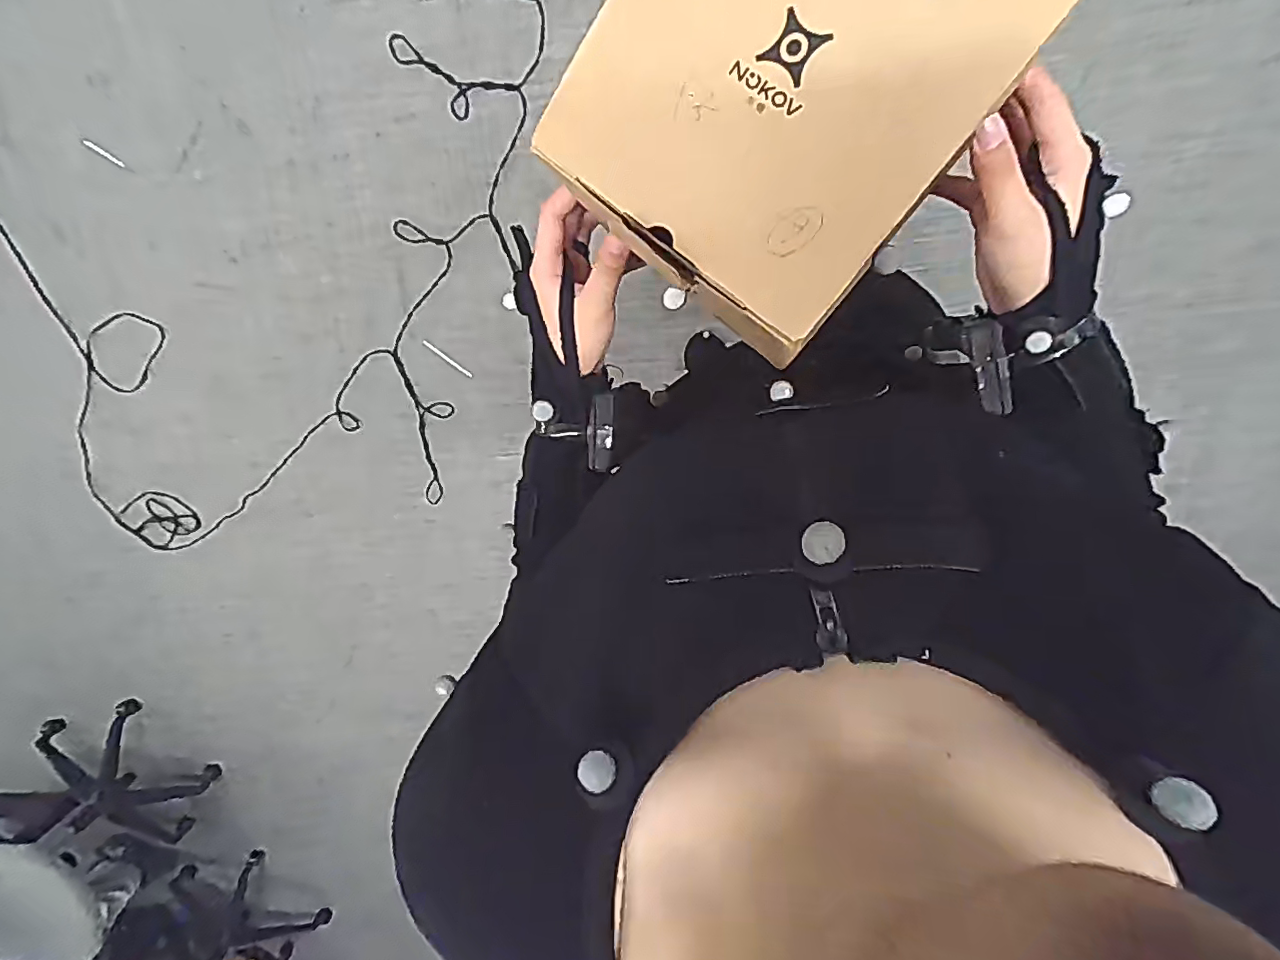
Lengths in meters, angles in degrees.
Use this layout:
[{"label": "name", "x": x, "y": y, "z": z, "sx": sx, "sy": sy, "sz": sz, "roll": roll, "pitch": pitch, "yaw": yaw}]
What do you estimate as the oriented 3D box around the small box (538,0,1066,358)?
[{"label": "small box", "x": 0.078, "y": -0.188, "z": 0.319, "sx": 0.168, "sy": 0.176, "sz": 0.179, "roll": 39, "pitch": 106, "yaw": 5}]
